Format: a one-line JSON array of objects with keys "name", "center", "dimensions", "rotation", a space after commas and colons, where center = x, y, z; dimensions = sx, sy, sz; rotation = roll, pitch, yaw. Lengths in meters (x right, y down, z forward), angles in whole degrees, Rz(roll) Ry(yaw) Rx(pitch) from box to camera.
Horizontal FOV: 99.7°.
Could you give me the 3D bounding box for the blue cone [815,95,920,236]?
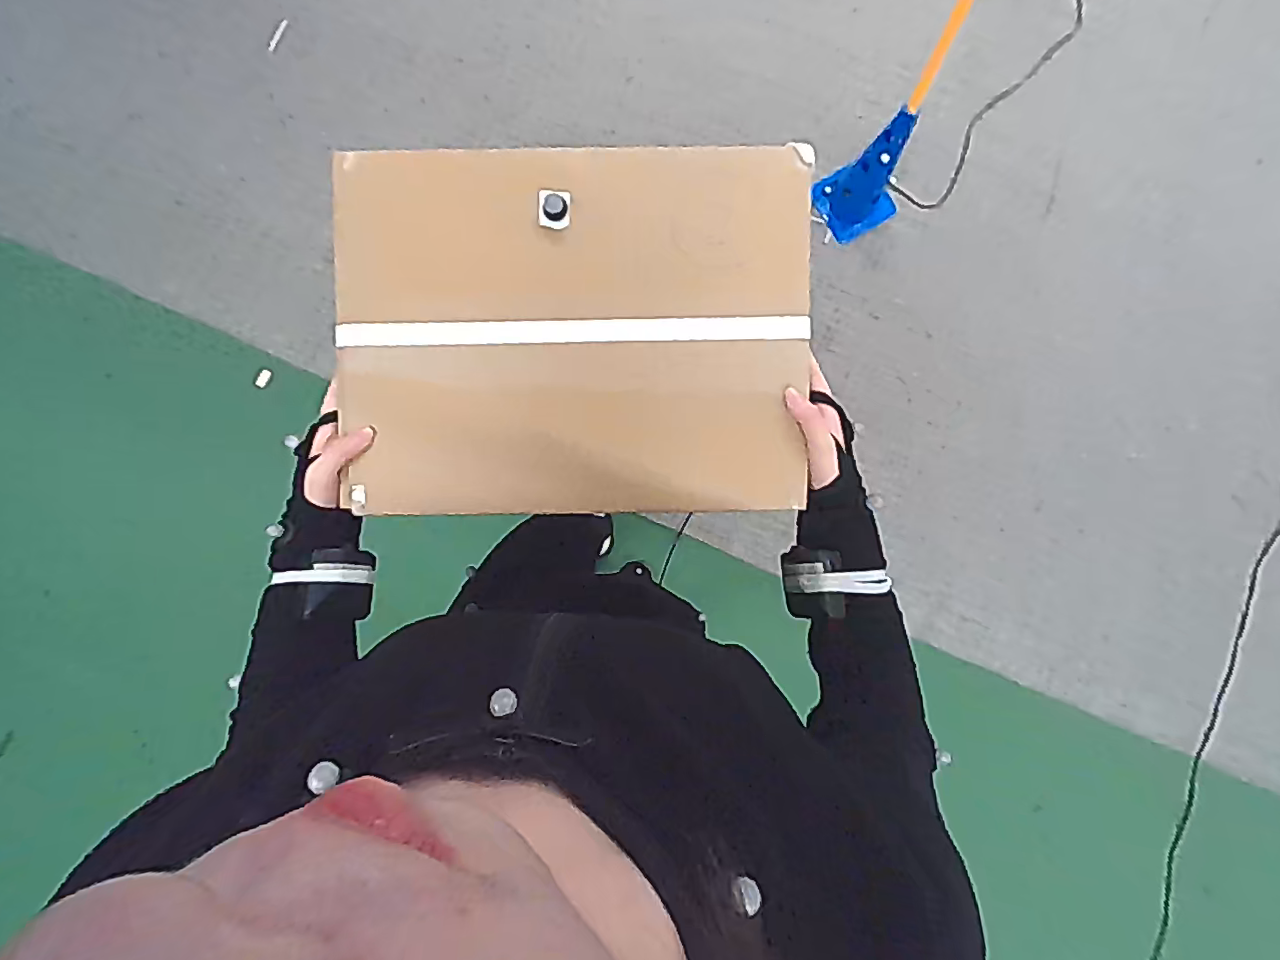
[{"name": "blue cone", "center": [0.616, -0.819, 1.384], "dimensions": [0.193, 0.380, 0.192], "rotation": [-33, 86, -1]}]
